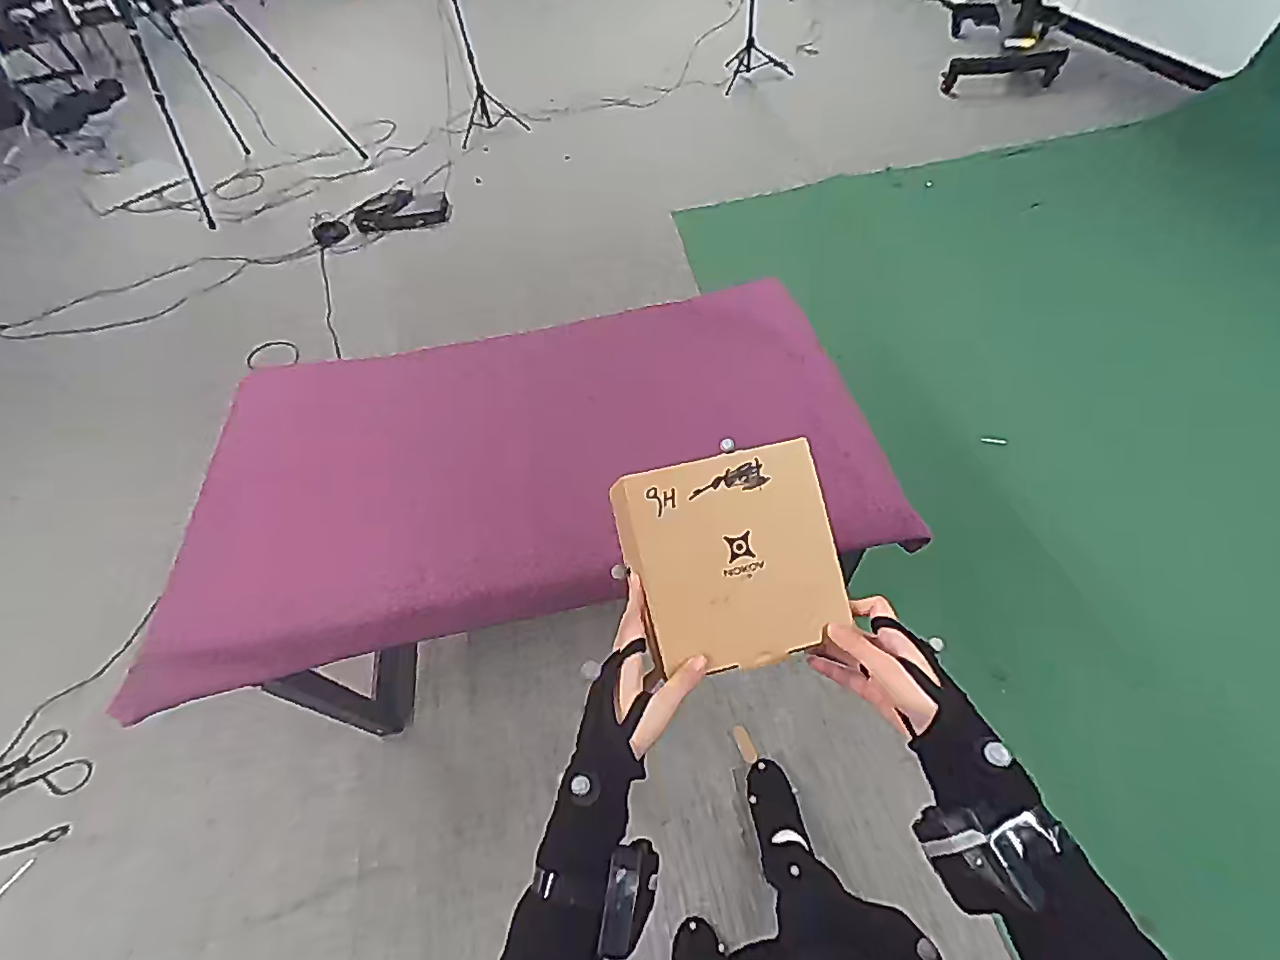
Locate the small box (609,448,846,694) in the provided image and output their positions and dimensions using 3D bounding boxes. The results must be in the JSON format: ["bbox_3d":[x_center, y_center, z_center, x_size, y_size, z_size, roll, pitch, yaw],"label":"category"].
[{"bbox_3d":[0.068,0.077,0.524,0.168,0.176,0.179,-12,87,-8],"label":"small box"}]
